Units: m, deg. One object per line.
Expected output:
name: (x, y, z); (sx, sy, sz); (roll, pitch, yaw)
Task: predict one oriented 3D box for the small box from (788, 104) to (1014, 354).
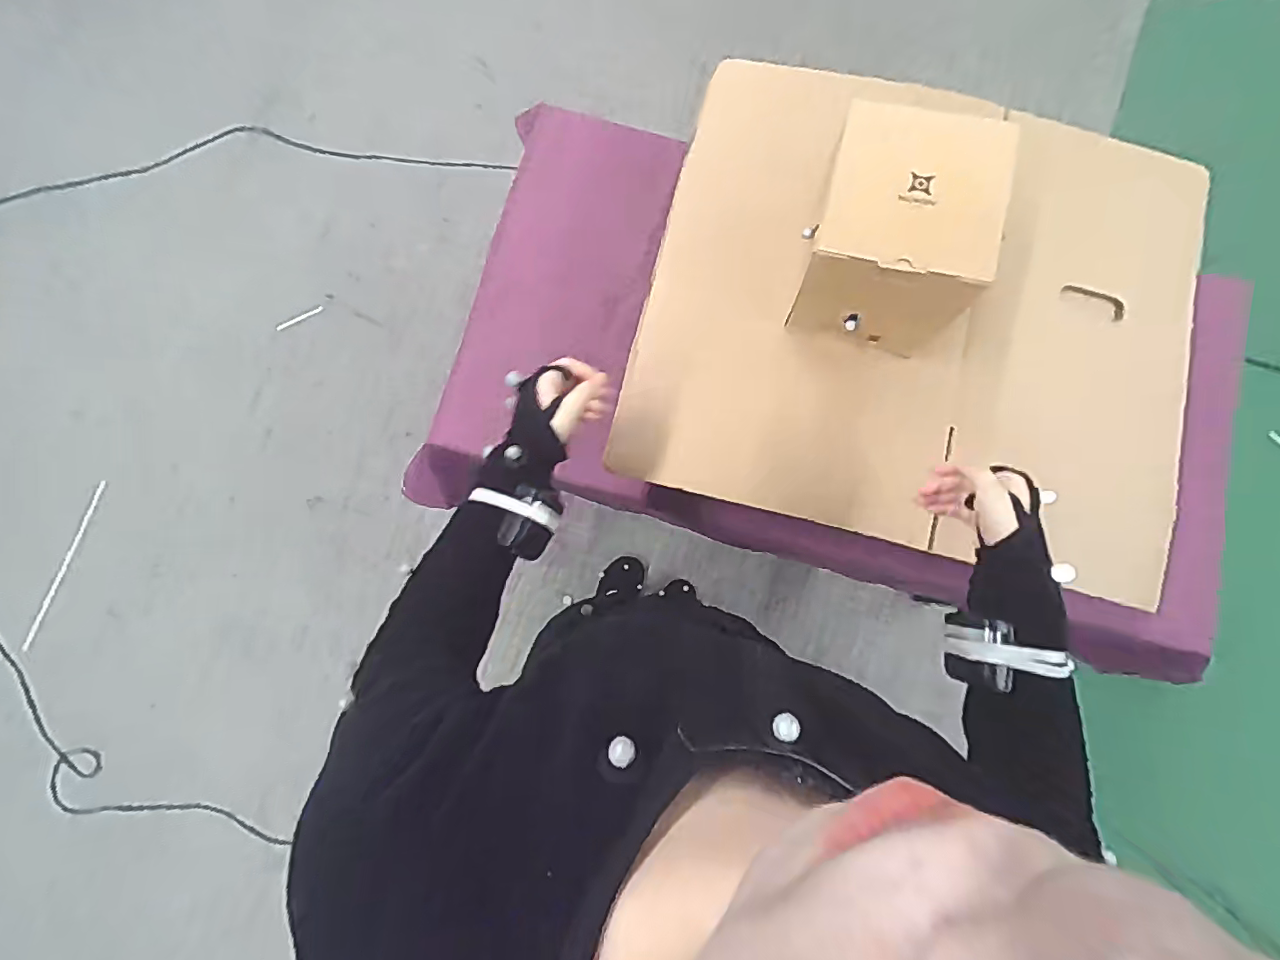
small box: (0.274, -0.268, 0.607); (0.168, 0.176, 0.179); (14, 83, 8)
